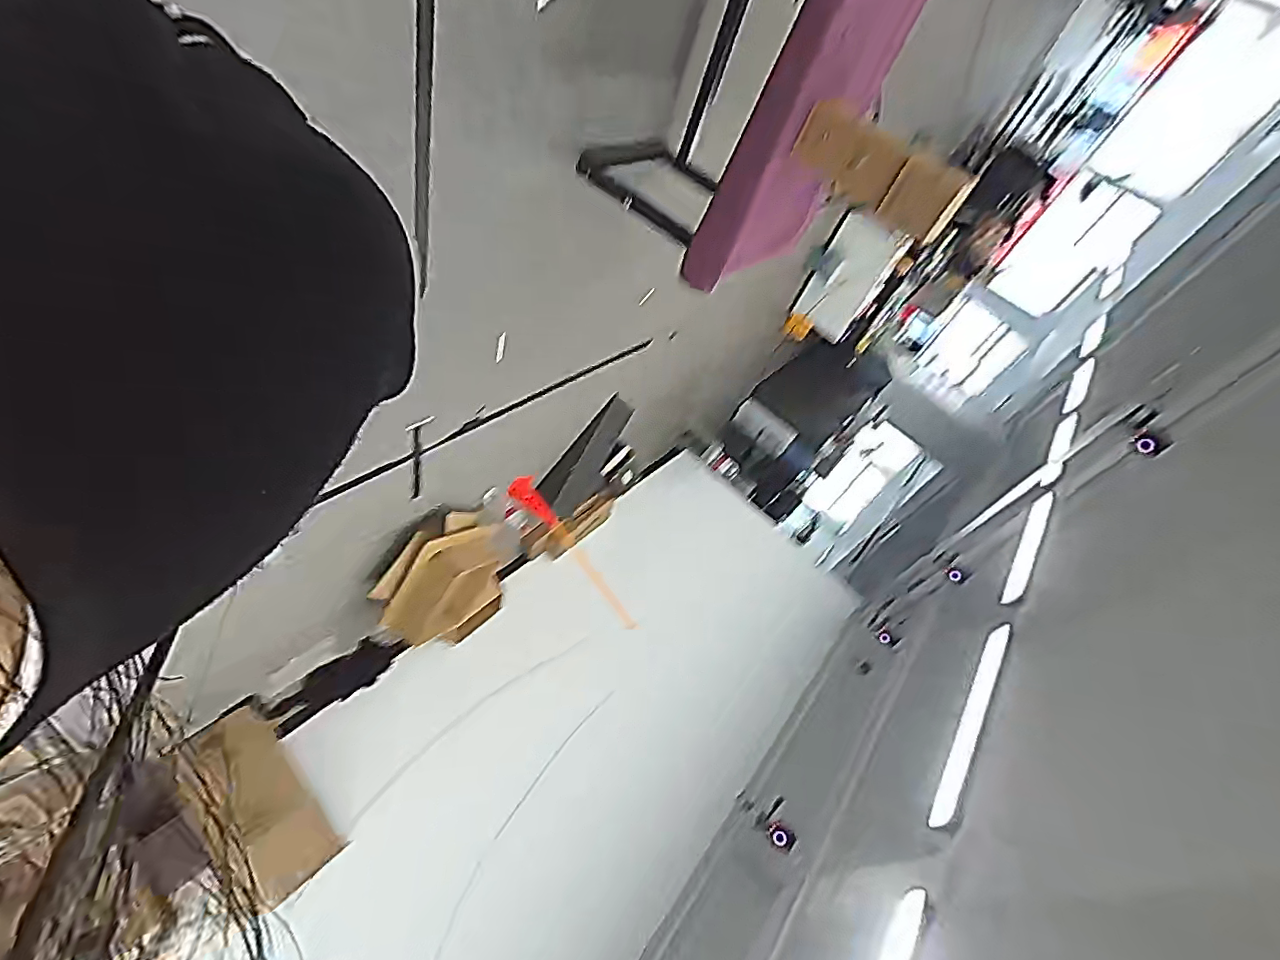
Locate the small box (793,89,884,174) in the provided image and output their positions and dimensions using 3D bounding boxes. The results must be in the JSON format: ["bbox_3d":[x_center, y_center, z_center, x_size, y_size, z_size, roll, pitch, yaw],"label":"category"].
[{"bbox_3d":[0.596,-1.054,1.638,0.179,0.176,0.168,-35,161,-43],"label":"small box"}]

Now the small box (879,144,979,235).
[{"bbox_3d":[0.820,-0.834,1.547,0.179,0.176,0.168,-37,162,-39],"label":"small box"}]

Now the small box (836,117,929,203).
[{"bbox_3d":[0.717,-0.949,1.601,0.179,0.176,0.168,-34,159,-42],"label":"small box"}]
